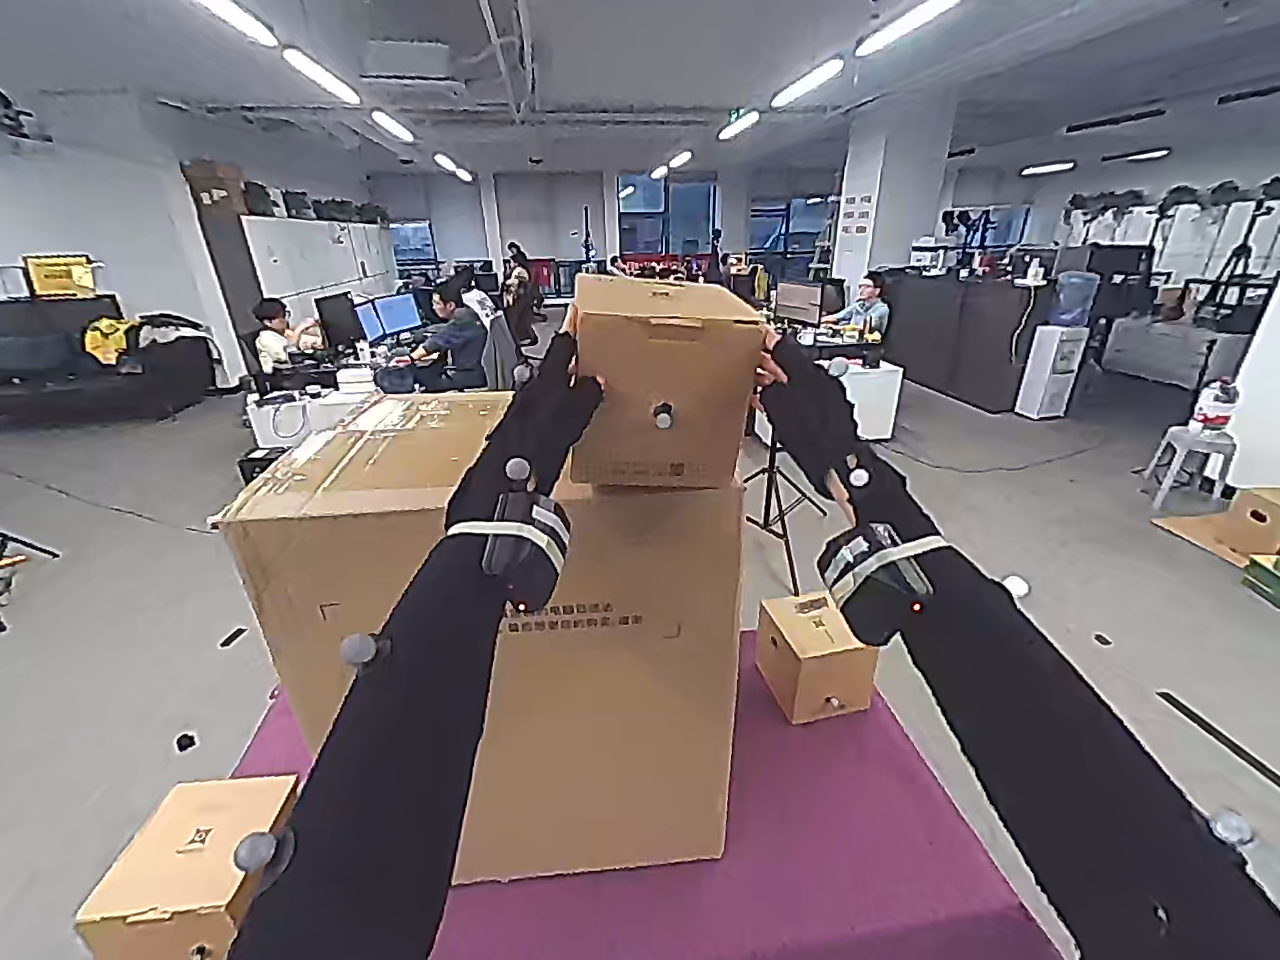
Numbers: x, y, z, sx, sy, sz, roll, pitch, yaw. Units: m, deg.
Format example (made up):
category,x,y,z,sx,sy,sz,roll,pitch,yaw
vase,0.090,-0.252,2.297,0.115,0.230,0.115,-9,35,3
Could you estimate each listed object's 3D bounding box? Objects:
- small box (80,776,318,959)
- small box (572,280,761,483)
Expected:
category,x,y,z,sx,sy,sz,roll,pitch,yaw
small box,-0.558,0.534,0.720,0.168,0.176,0.179,-1,21,-6
small box,0.014,-0.107,0.573,0.168,0.176,0.179,1,30,-8
